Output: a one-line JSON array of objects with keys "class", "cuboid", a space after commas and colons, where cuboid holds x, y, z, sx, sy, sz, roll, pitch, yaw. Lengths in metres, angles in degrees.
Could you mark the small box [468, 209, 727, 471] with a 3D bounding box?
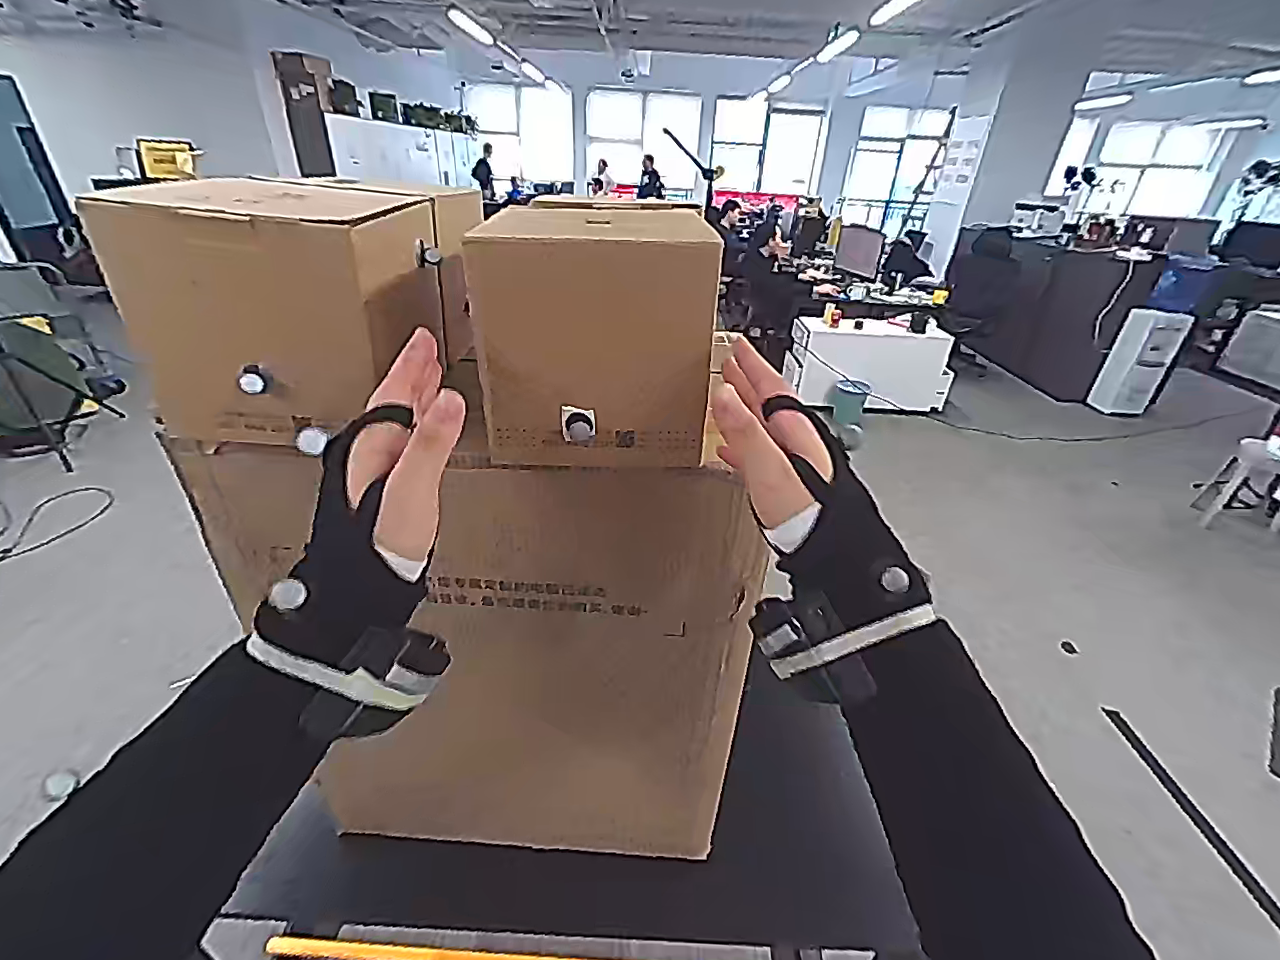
[{"class": "small box", "cuboid": [-0.030, -0.121, 0.447, 0.168, 0.176, 0.179, -1, 32, -2]}]
